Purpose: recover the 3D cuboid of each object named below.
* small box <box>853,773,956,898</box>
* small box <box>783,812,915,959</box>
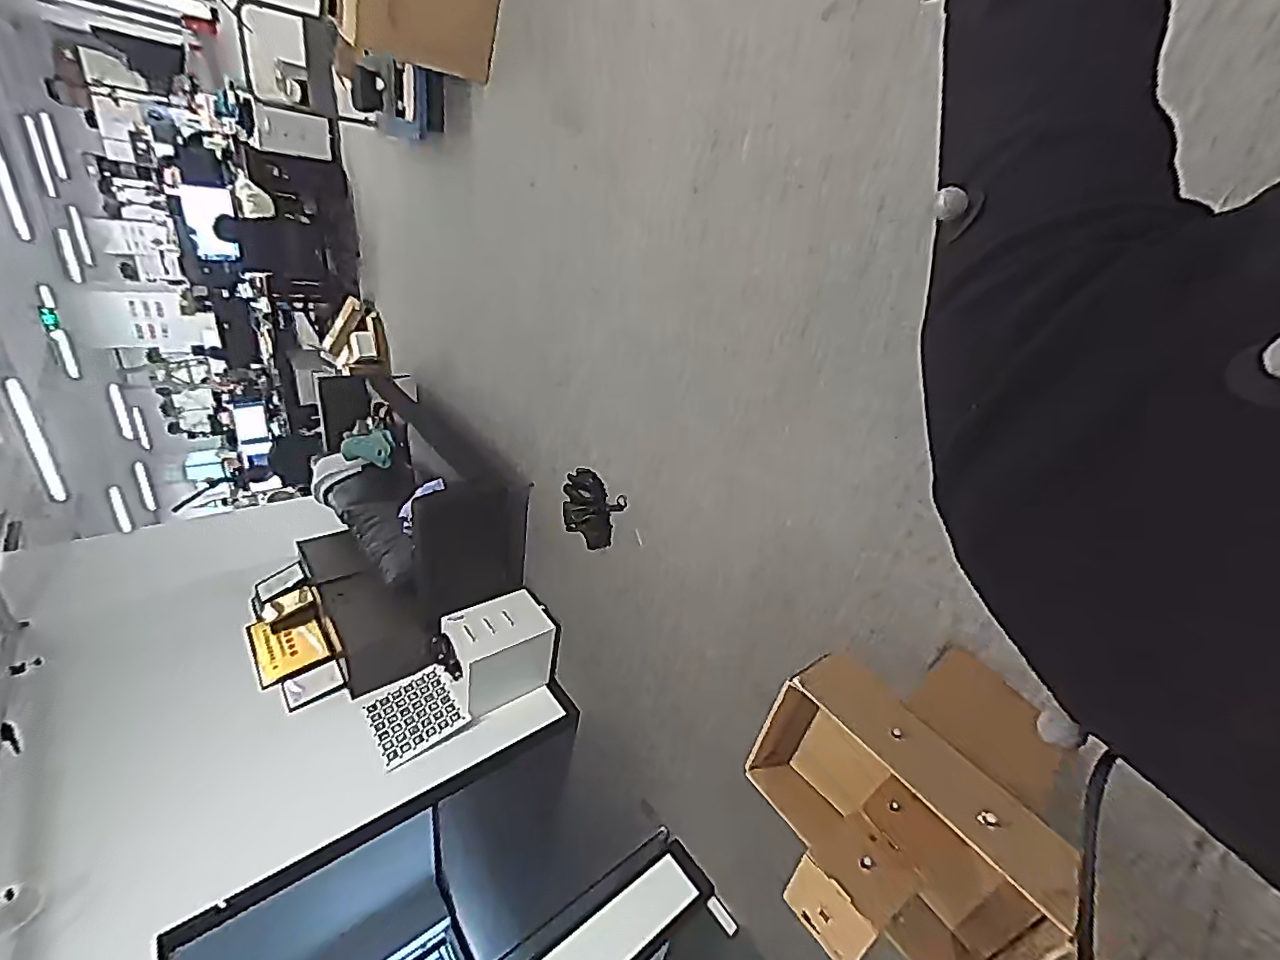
[{"bbox_3d":[0.562,0.797,1.197,0.168,0.176,0.179,40,133,40],"label":"small box"},{"bbox_3d":[0.430,0.833,1.107,0.168,0.176,0.179,38,129,42],"label":"small box"}]
